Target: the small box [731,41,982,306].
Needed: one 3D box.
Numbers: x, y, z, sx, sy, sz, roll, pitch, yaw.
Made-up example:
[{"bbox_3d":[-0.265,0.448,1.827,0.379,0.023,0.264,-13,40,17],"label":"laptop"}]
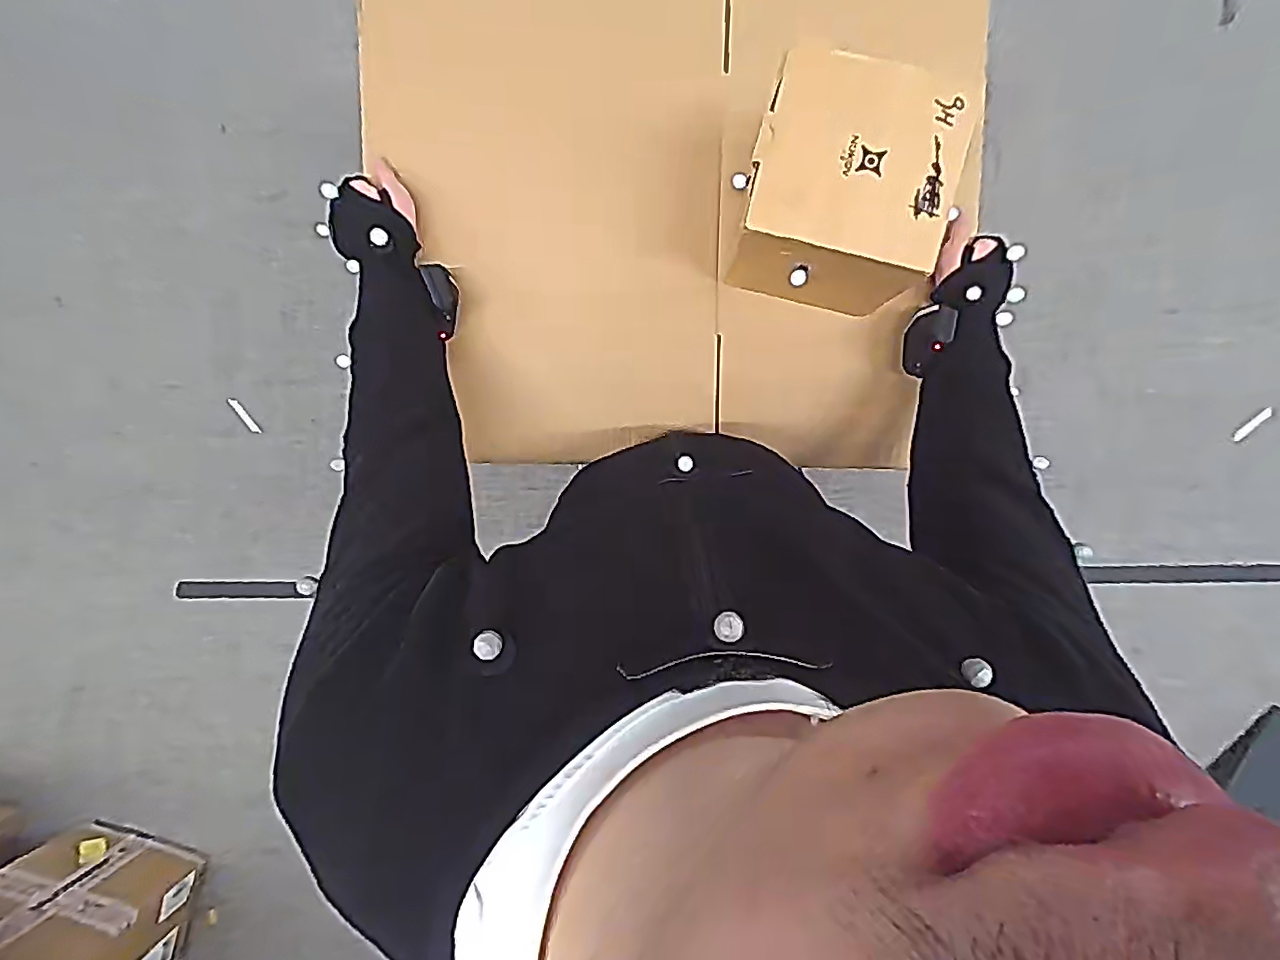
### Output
[{"bbox_3d":[0.200,-0.294,0.558,0.179,0.176,0.168,14,95,3],"label":"small box"}]
